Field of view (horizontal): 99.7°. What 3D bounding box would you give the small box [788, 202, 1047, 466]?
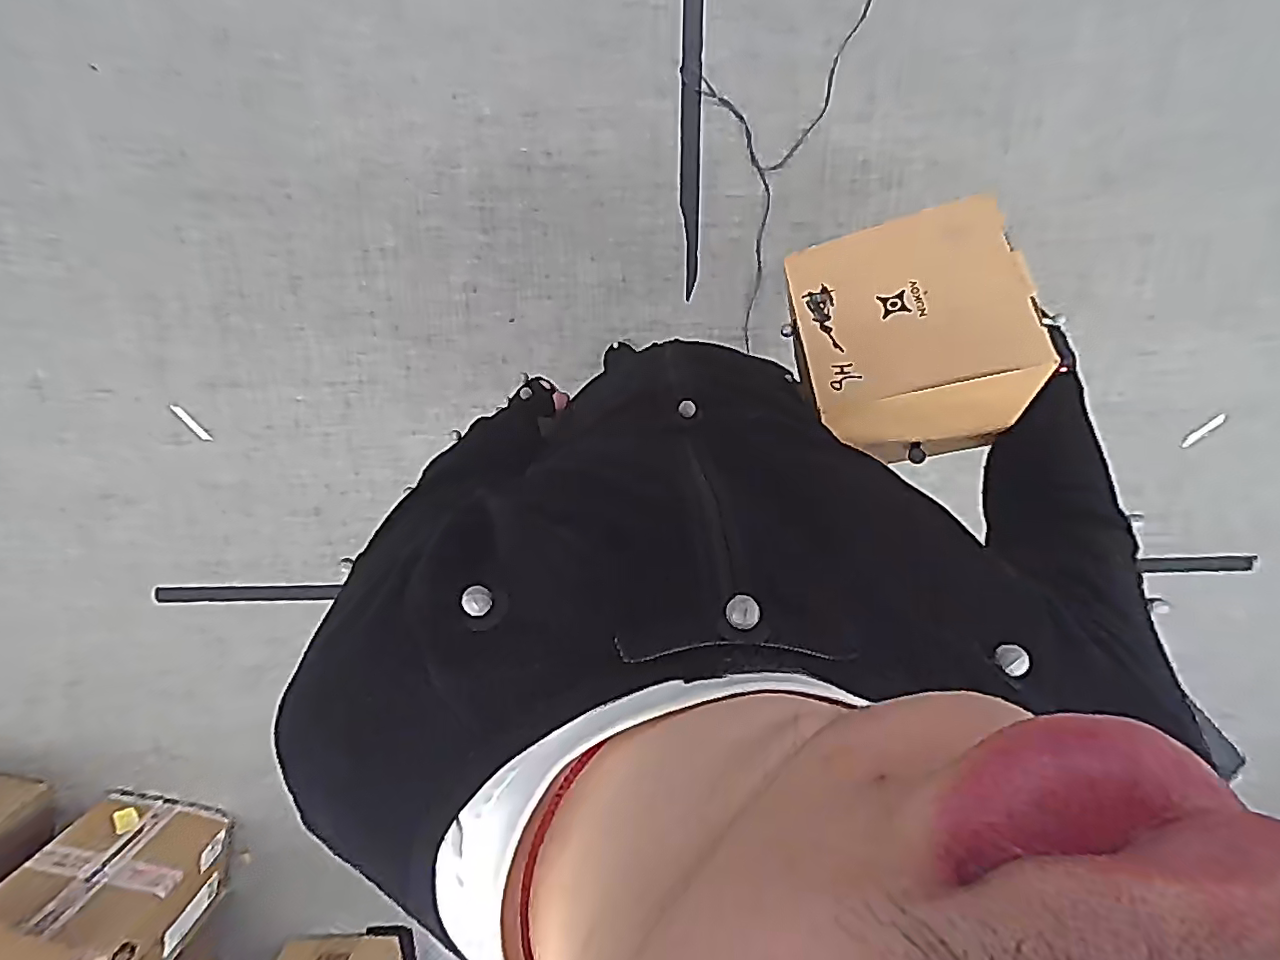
[{"bbox_3d":[0.251,-0.128,0.537,0.179,0.176,0.168,-11,68,15],"label":"small box"}]
